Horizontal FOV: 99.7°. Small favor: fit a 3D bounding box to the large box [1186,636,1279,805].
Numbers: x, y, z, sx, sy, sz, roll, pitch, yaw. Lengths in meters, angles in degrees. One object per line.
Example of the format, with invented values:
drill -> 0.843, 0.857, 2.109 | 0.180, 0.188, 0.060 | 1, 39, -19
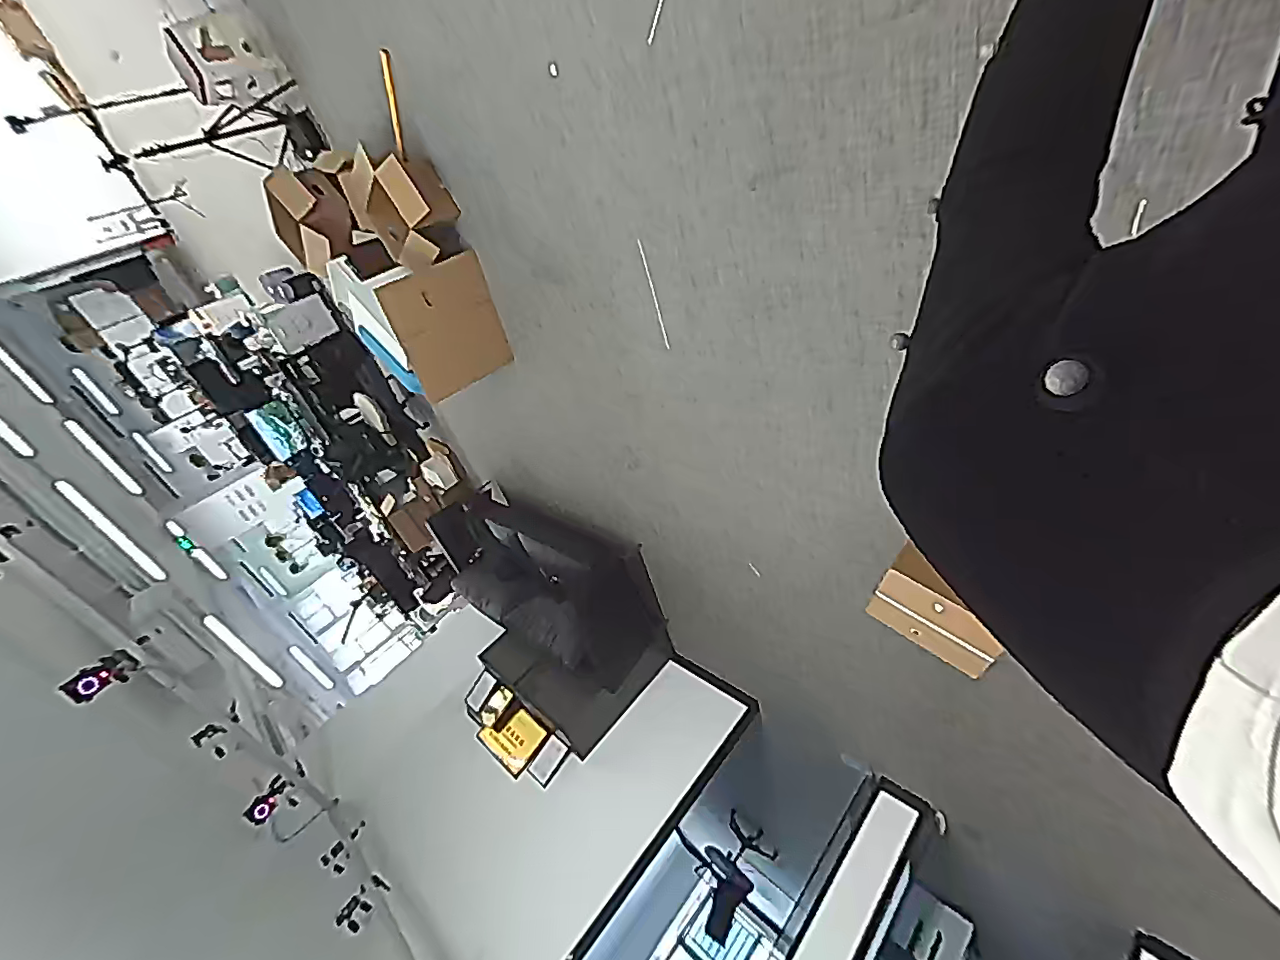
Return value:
large box -> 1.746, 0.621, 1.376 | 0.320, 0.320, 0.408 | 52, 149, -7
